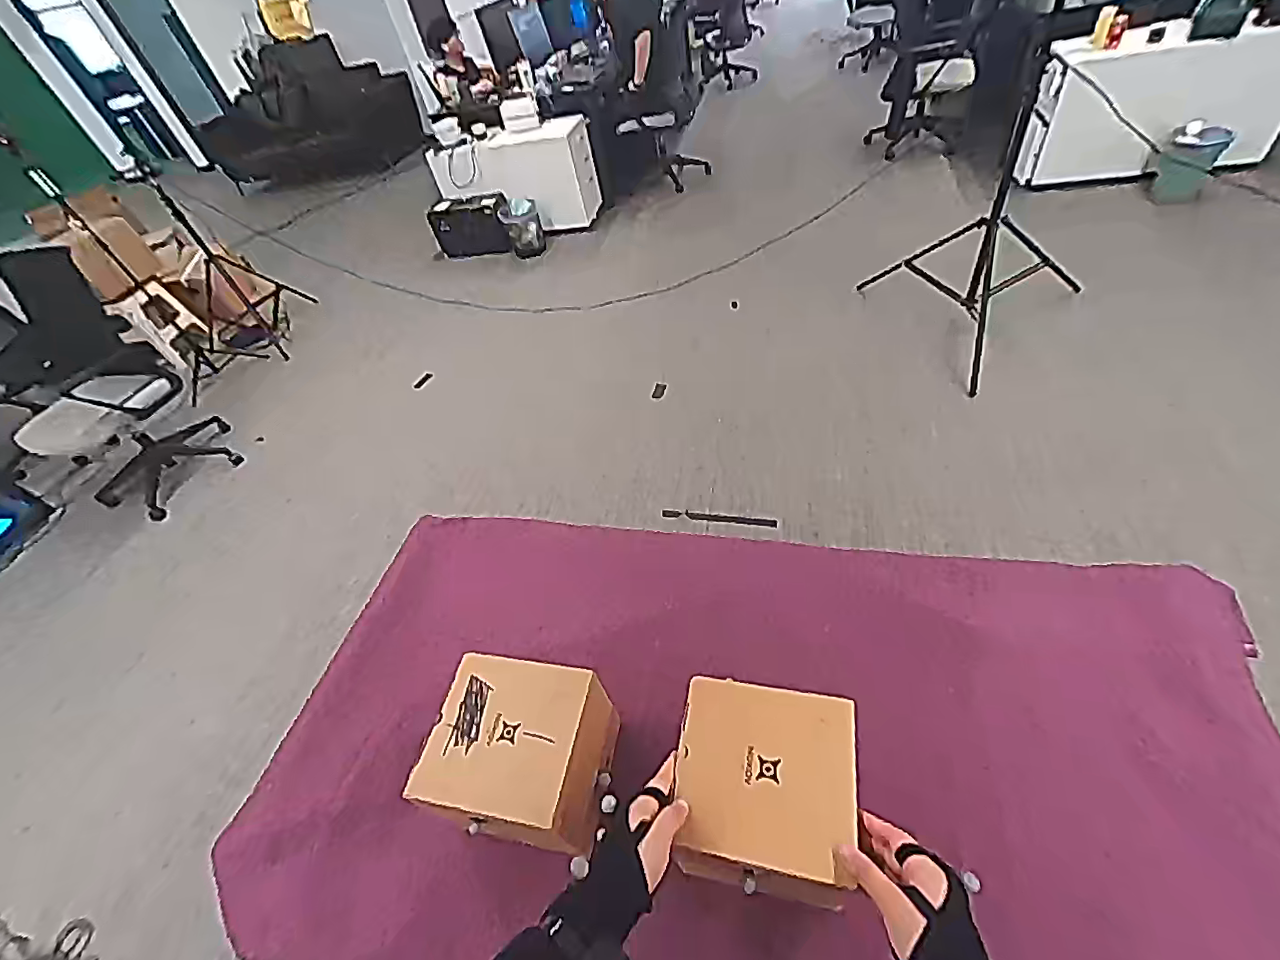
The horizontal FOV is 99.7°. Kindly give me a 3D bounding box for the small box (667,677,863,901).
[{"bbox_3d":[0.140,0.341,0.596,0.179,0.176,0.168,2,48,17],"label":"small box"}]

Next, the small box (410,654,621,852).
[{"bbox_3d":[-0.136,0.336,0.667,0.179,0.176,0.168,3,49,15],"label":"small box"}]
